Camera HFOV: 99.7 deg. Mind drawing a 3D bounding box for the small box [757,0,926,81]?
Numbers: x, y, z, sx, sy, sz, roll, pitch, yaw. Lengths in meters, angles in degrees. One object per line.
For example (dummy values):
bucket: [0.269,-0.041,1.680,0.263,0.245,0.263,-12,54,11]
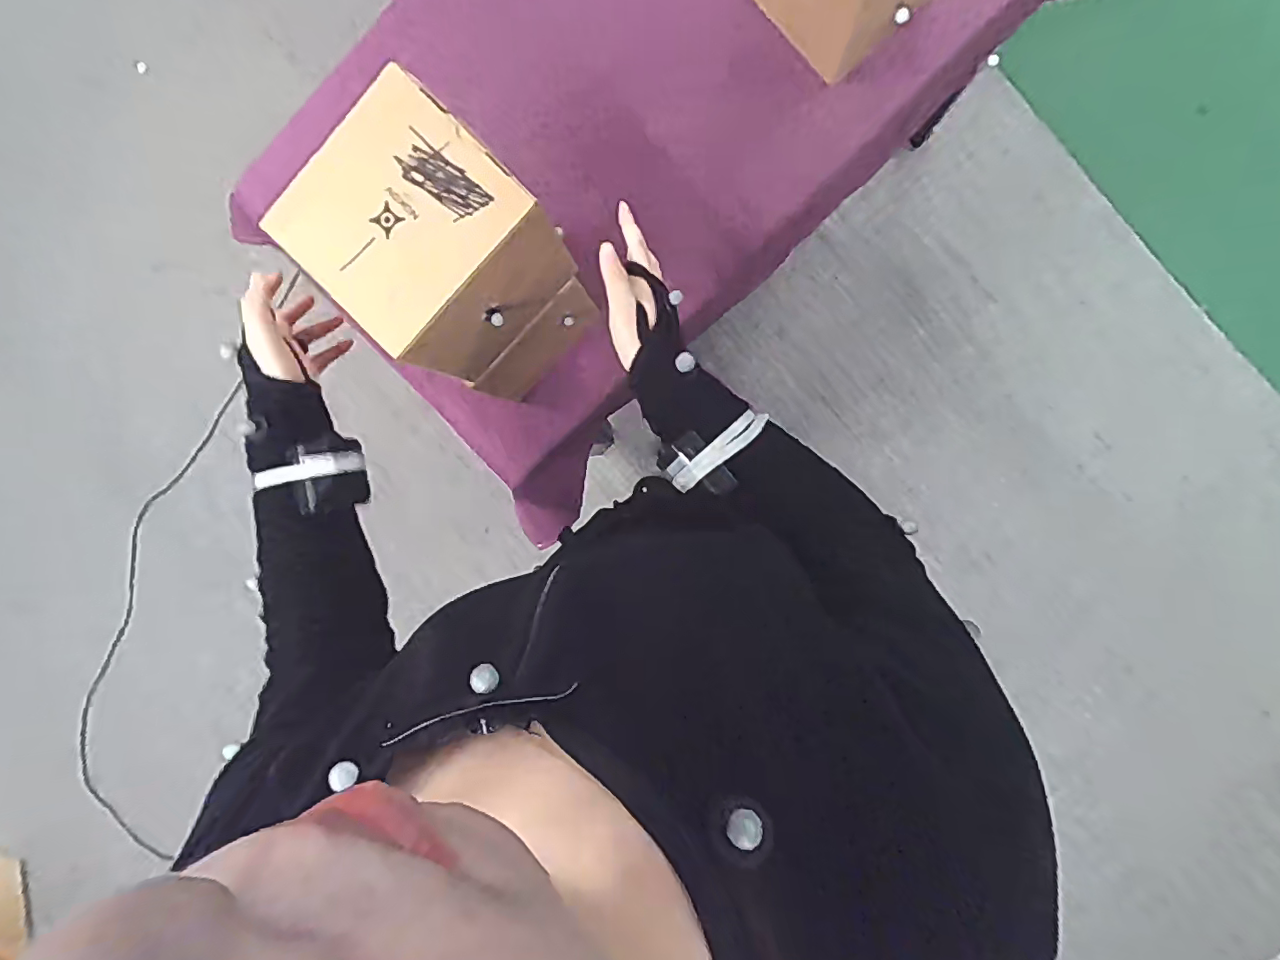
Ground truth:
small box: [0.243,-0.617,0.612,0.168,0.176,0.179,-41,90,8]
